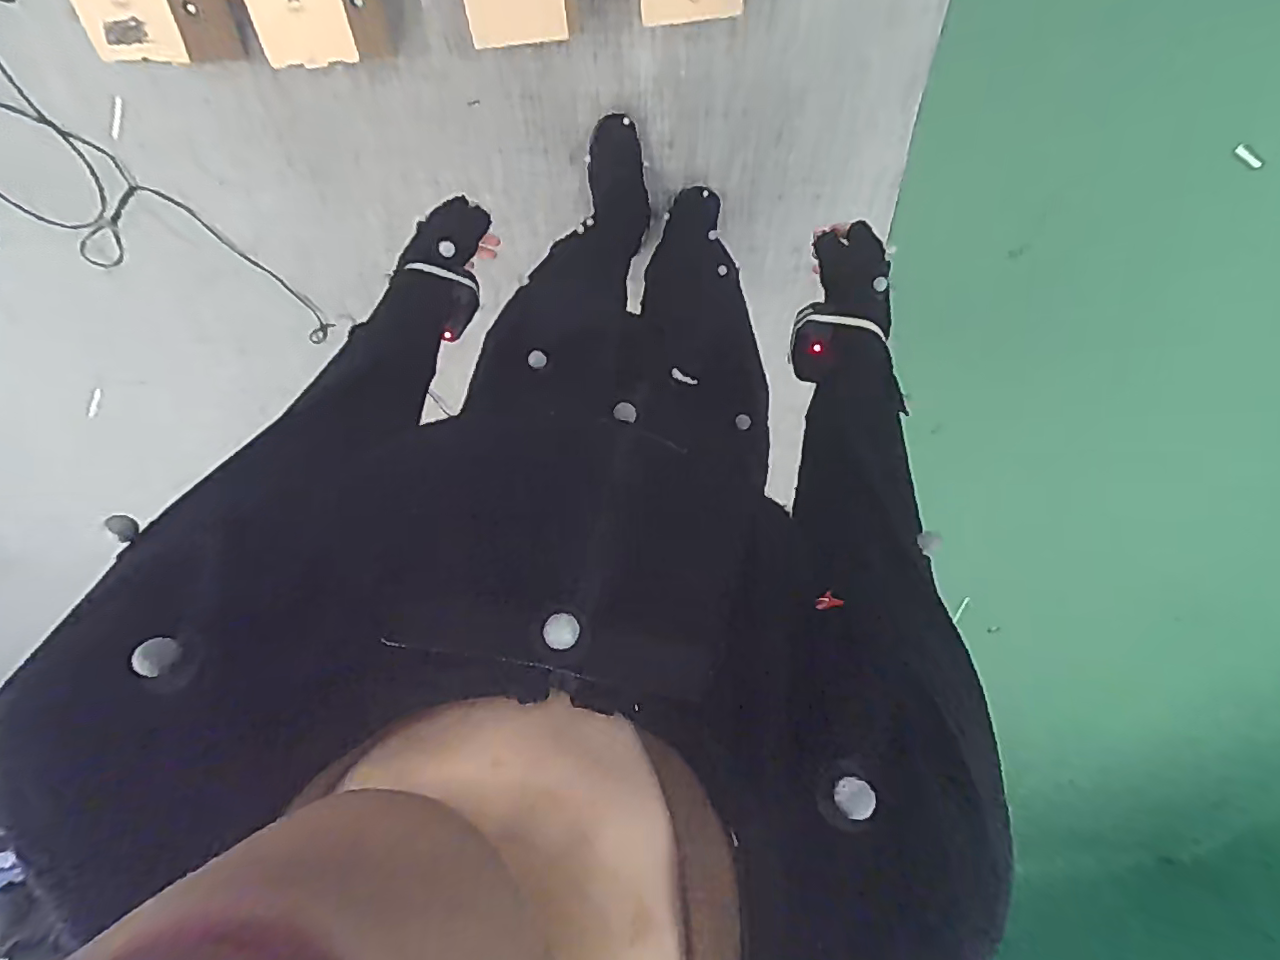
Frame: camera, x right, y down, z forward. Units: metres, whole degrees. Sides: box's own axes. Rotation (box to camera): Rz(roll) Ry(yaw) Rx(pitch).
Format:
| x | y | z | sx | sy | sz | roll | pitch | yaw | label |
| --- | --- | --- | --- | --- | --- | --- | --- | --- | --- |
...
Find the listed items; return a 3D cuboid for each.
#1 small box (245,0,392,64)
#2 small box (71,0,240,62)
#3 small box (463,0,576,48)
| x | y | z | sx | sy | sz | roll | pitch | yaw | label |
| --- | --- | --- | --- | --- | --- | --- | --- | --- | --- |
| -0.566 | -0.845 | 0.943 | 0.168 | 0.176 | 0.179 | -1 | 131 | 4 | small box |
| -0.857 | -0.852 | 0.947 | 0.168 | 0.176 | 0.179 | 2 | 130 | 0 | small box |
| -0.208 | -0.857 | 0.916 | 0.168 | 0.176 | 0.179 | -3 | 131 | 4 | small box |
